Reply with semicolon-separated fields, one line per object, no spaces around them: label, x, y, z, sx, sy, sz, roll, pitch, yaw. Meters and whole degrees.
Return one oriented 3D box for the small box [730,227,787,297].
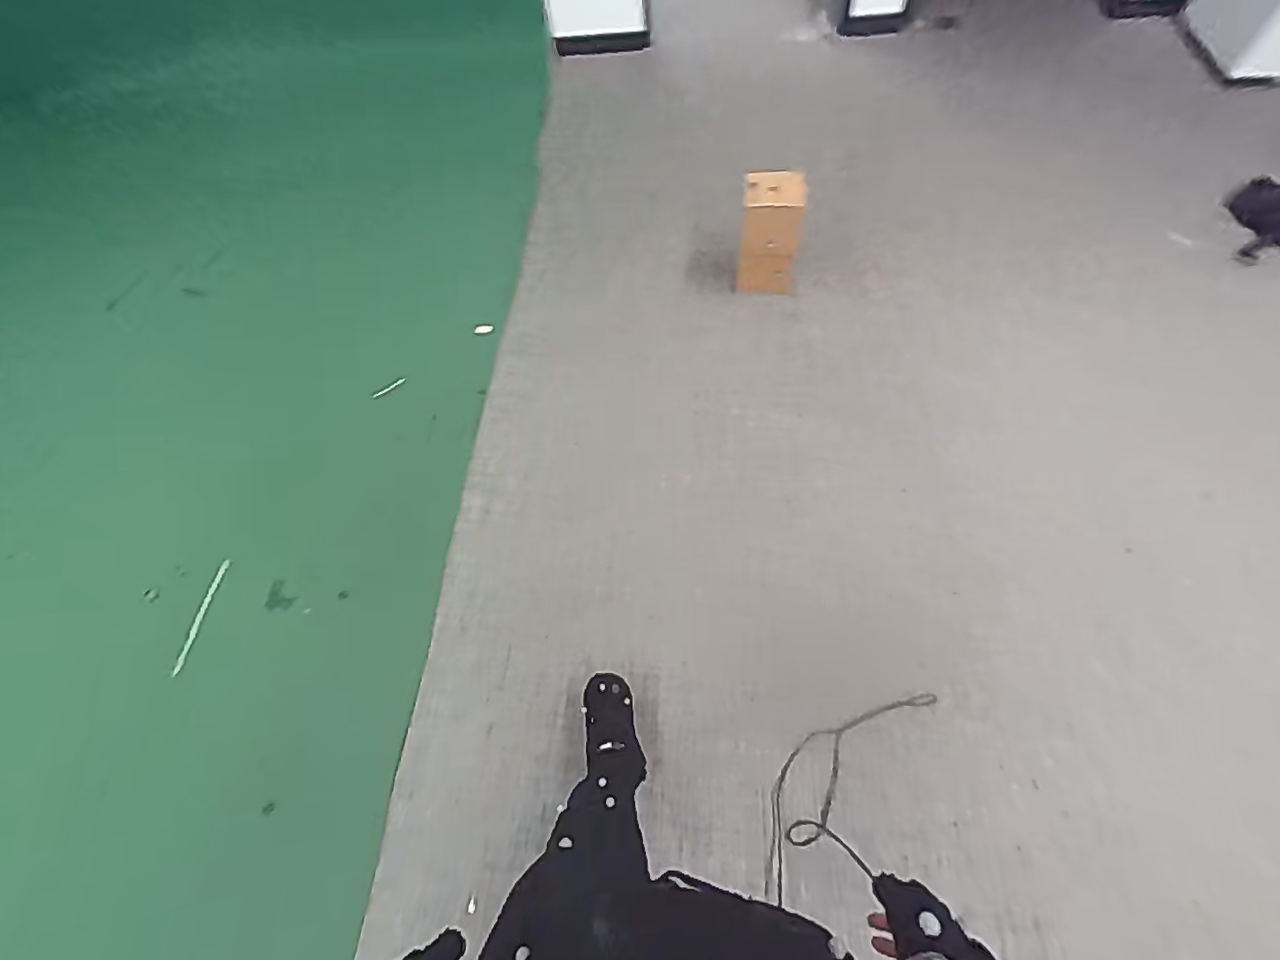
small box;0.400;-0.746;1.850;0.179;0.176;0.168;1;61;7

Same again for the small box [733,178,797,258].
small box;0.390;-0.822;1.705;0.179;0.176;0.168;4;62;6
